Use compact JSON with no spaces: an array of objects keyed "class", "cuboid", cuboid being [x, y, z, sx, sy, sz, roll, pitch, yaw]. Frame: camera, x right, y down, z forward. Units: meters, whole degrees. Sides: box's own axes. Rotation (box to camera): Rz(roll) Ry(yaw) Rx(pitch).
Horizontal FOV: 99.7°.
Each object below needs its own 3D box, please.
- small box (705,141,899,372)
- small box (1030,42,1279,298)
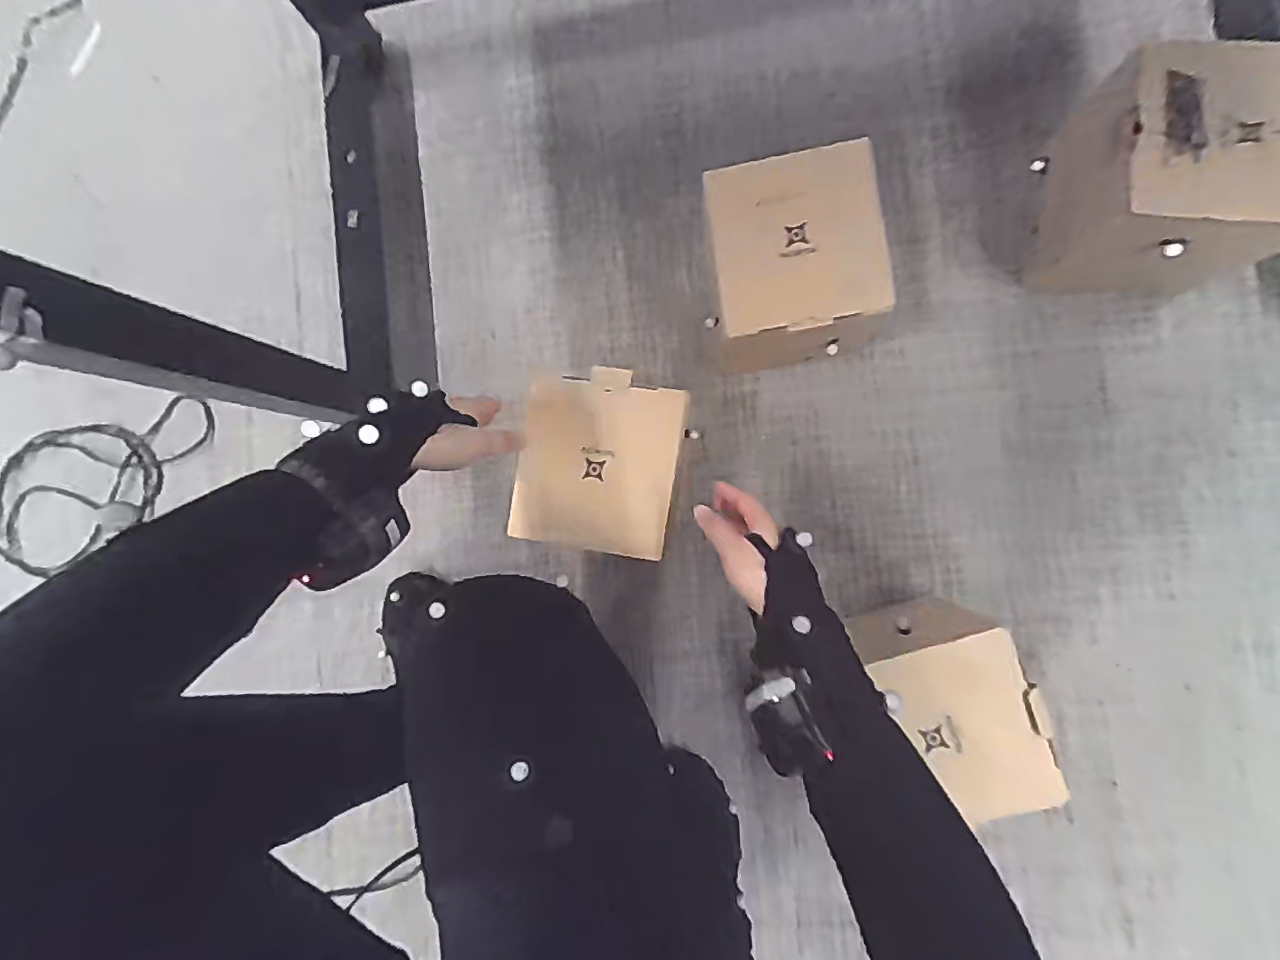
[{"class":"small box","cuboid":[0.167,-0.229,0.606,0.168,0.176,0.179,-8,86,6]},{"class":"small box","cuboid":[0.545,-0.301,0.557,0.179,0.176,0.168,7,89,7]}]
